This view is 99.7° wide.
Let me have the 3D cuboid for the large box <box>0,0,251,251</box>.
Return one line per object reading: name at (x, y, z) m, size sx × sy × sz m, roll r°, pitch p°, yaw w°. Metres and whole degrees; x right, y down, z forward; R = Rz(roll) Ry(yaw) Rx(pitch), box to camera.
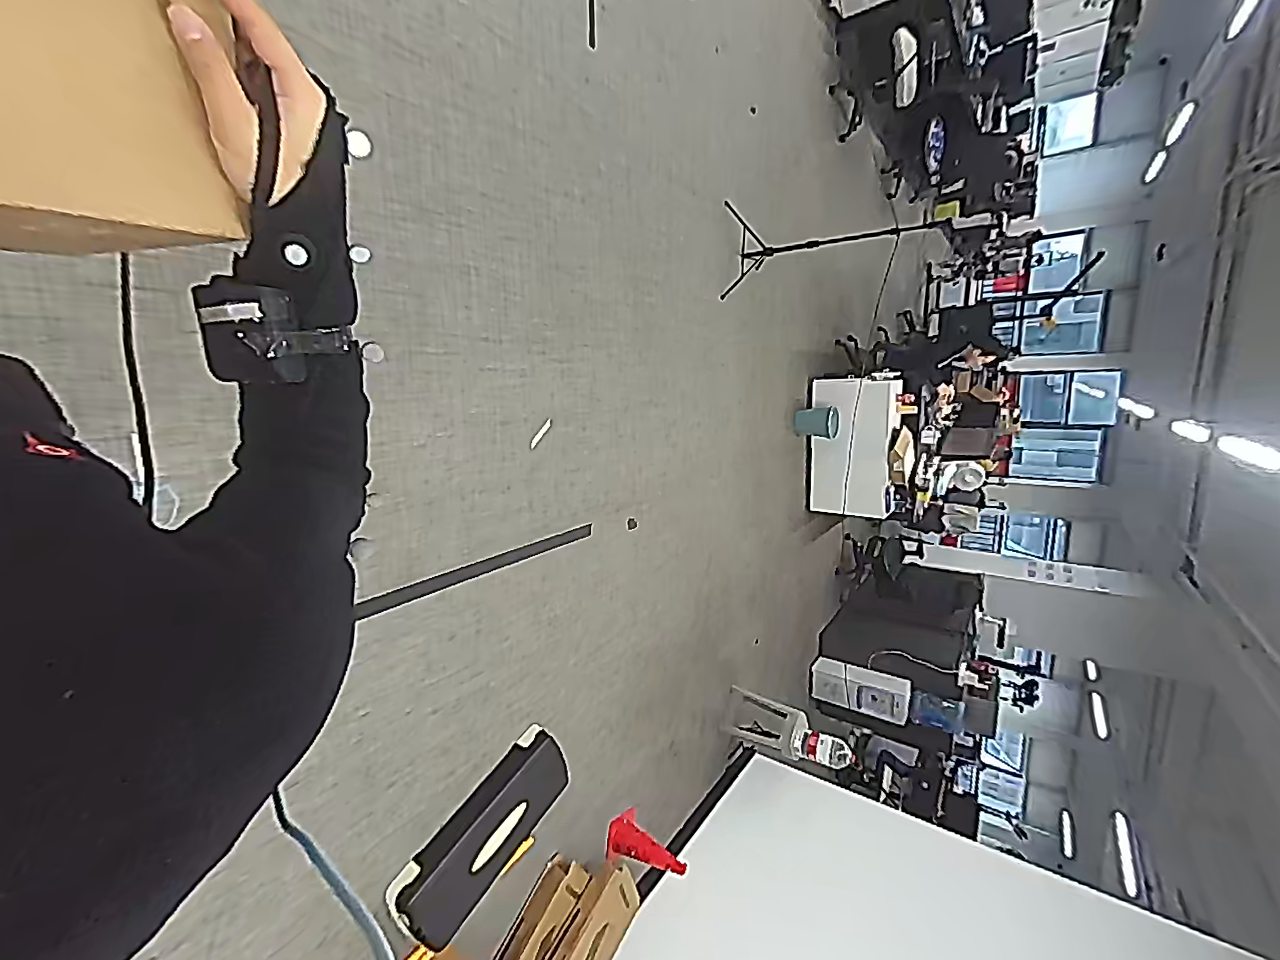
large box at (-0.469, -0.281, 0.207) m, size 0.408 × 0.320 × 0.320 m, roll -23°, pitch 120°, yaw -57°
